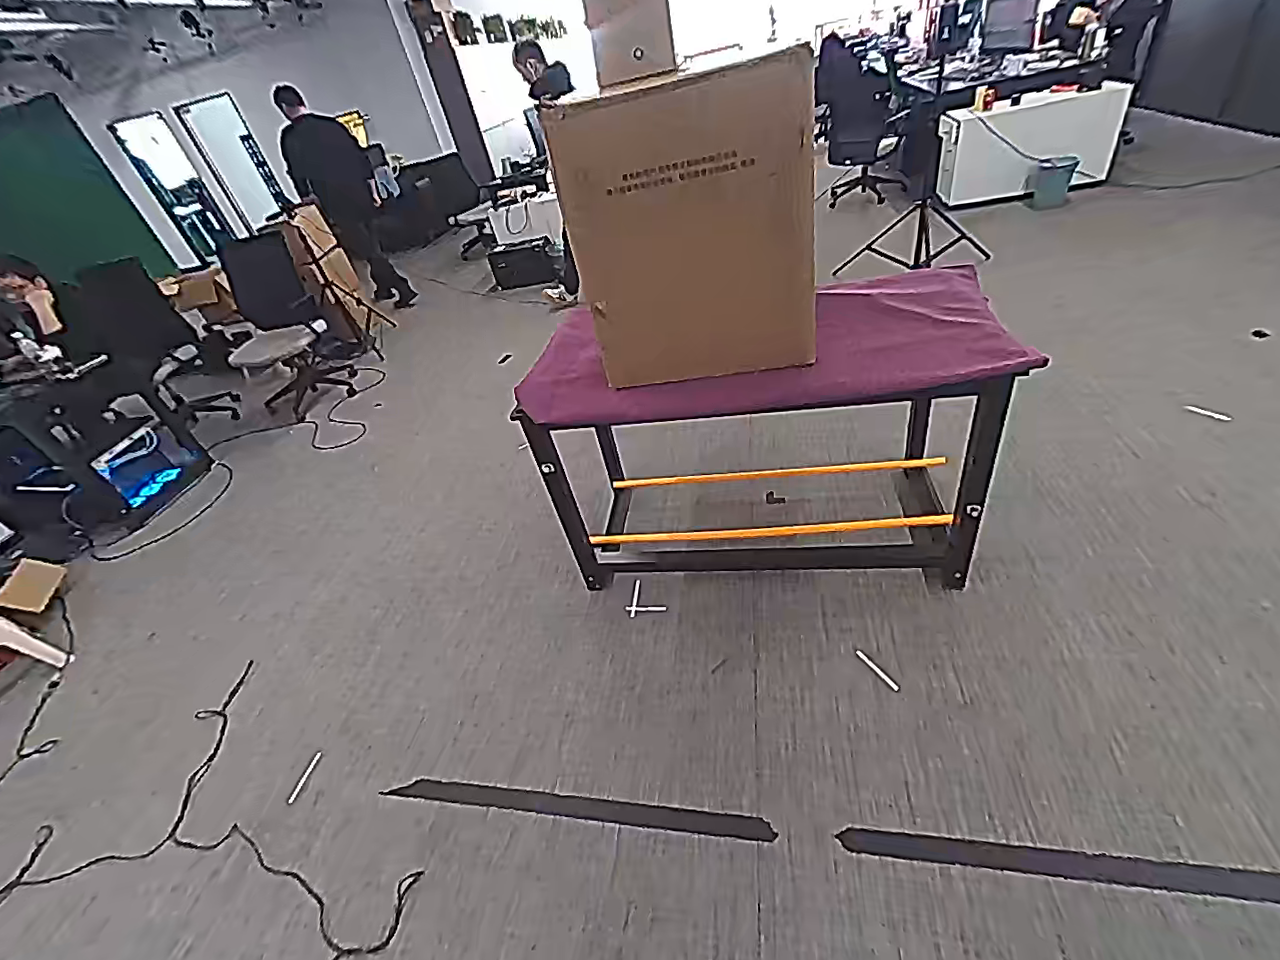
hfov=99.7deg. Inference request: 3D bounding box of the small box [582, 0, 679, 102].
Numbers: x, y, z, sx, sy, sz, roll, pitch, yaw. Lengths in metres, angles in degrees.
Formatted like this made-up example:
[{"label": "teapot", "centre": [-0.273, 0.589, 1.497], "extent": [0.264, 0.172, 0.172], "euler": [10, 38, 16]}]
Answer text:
[{"label": "small box", "centre": [-0.014, -0.956, 1.185], "extent": [0.179, 0.176, 0.168], "euler": [-5, 38, 10]}]
